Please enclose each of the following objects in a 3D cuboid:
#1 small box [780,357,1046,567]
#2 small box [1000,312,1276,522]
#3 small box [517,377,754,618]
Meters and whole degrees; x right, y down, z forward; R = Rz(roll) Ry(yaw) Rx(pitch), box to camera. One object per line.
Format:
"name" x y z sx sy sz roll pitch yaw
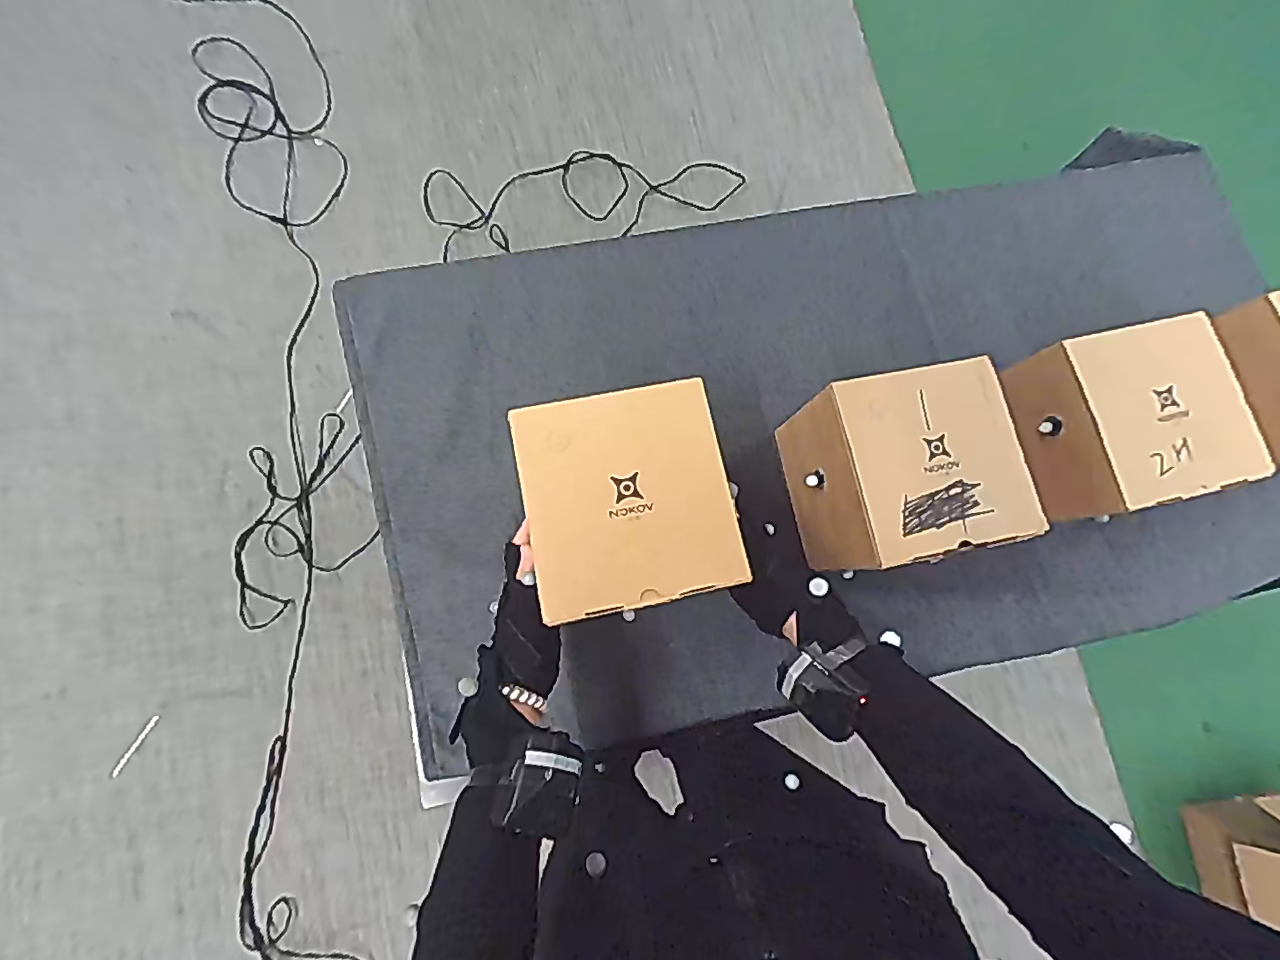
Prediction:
"small box" 0.267 -0.007 0.573 0.168 0.176 0.179 -10 80 -7
"small box" 0.504 -0.056 0.600 0.168 0.176 0.179 -12 80 -6
"small box" -0.013 0.027 0.508 0.168 0.176 0.179 -11 78 -7
